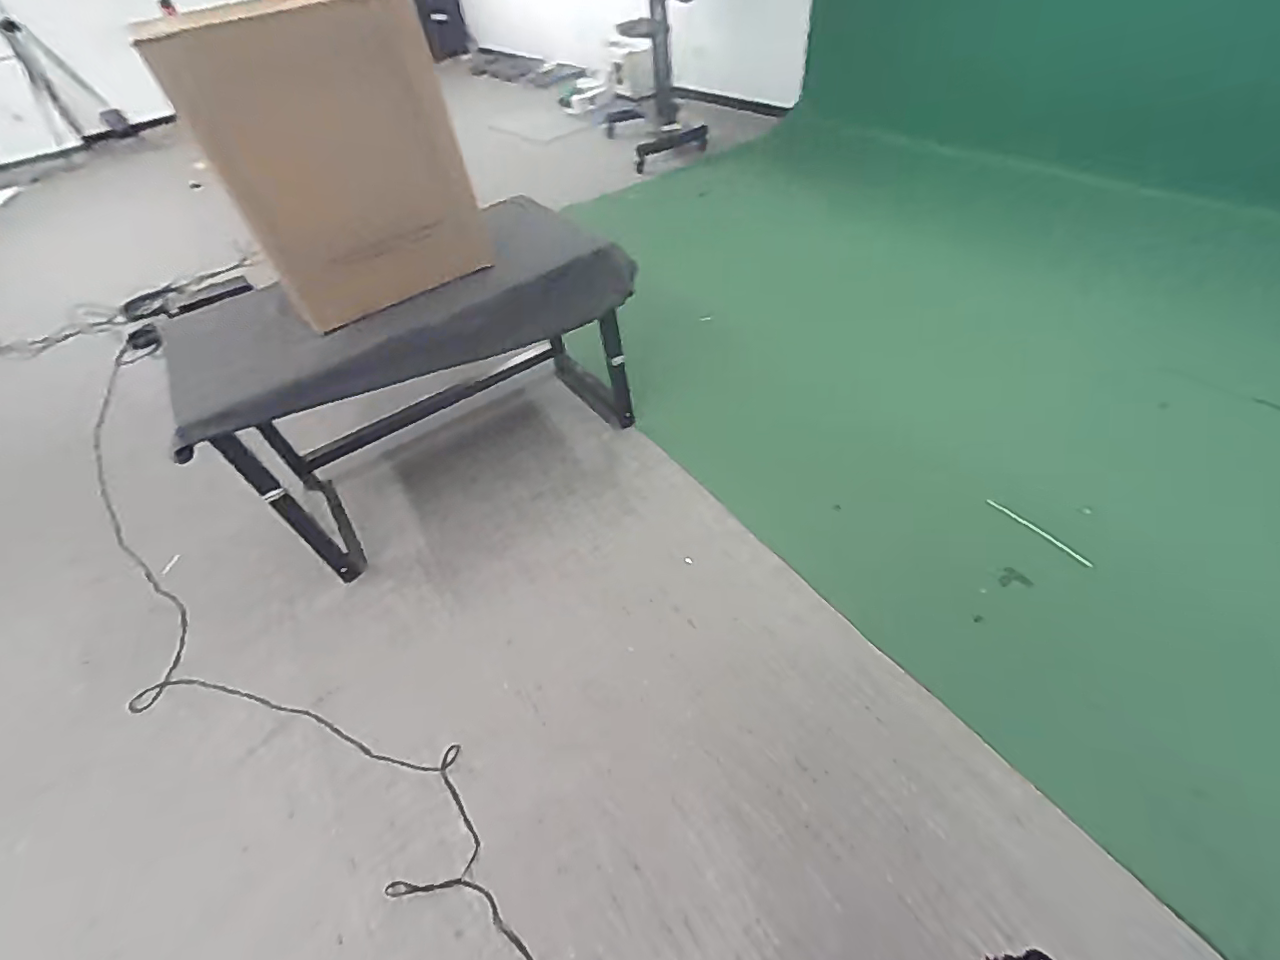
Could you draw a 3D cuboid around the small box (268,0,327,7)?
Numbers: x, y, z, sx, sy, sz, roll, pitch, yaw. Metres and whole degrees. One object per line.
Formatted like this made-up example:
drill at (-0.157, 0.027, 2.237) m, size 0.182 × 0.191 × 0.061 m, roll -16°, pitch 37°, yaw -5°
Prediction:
small box at (-0.730, -1.123, 1.138) m, size 0.168 × 0.176 × 0.179 m, roll -35°, pitch 55°, yaw -21°
